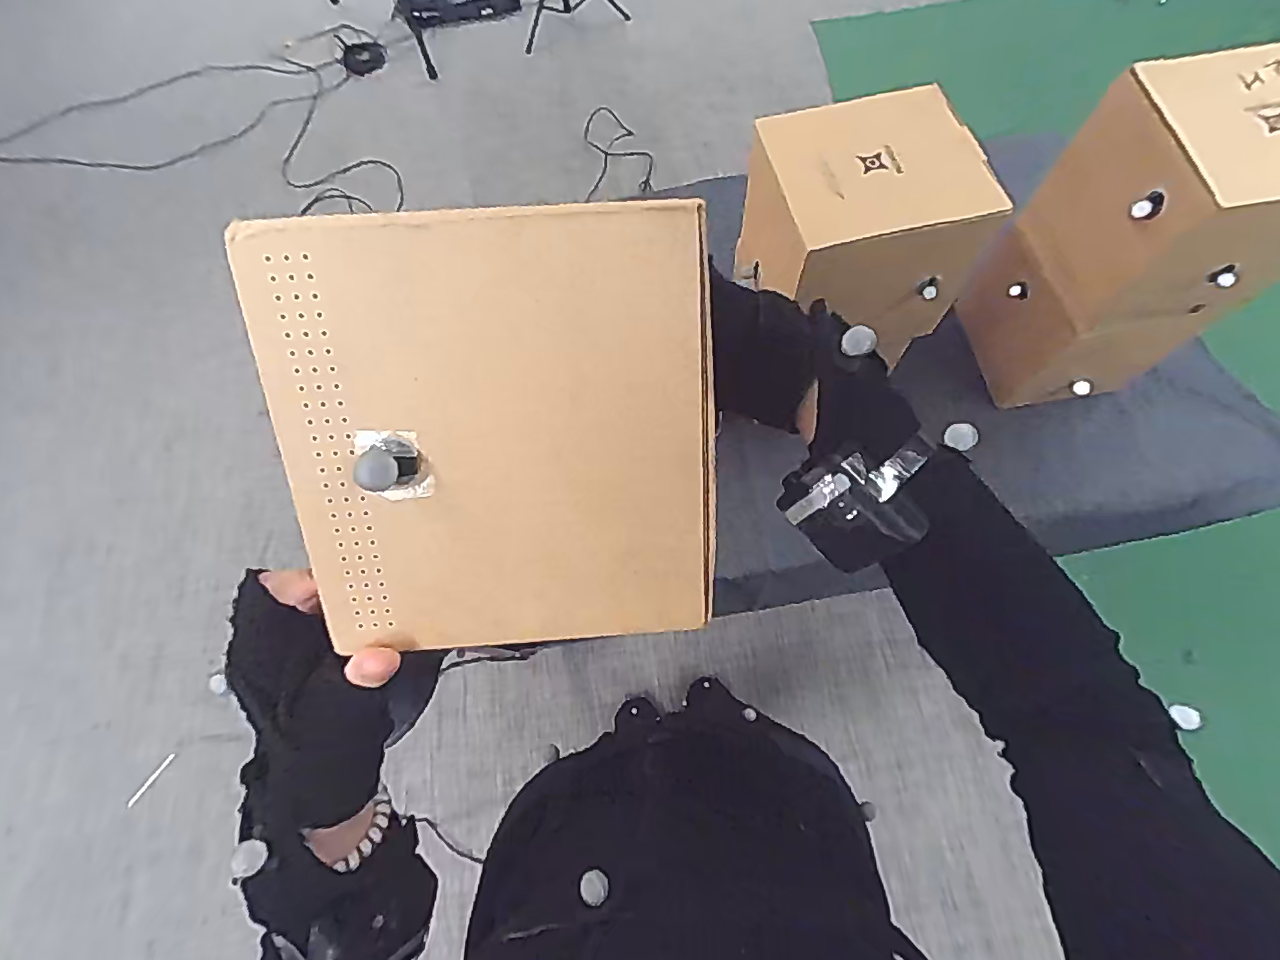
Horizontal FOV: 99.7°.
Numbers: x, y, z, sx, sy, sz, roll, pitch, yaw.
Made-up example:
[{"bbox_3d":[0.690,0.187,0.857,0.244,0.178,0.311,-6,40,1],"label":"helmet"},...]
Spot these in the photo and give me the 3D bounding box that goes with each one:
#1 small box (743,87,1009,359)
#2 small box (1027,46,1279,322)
[{"bbox_3d":[0.215,-0.248,0.550,0.179,0.176,0.168,-11,68,1],"label":"small box"},{"bbox_3d":[0.534,-0.274,0.532,0.168,0.176,0.179,-7,69,2],"label":"small box"}]
